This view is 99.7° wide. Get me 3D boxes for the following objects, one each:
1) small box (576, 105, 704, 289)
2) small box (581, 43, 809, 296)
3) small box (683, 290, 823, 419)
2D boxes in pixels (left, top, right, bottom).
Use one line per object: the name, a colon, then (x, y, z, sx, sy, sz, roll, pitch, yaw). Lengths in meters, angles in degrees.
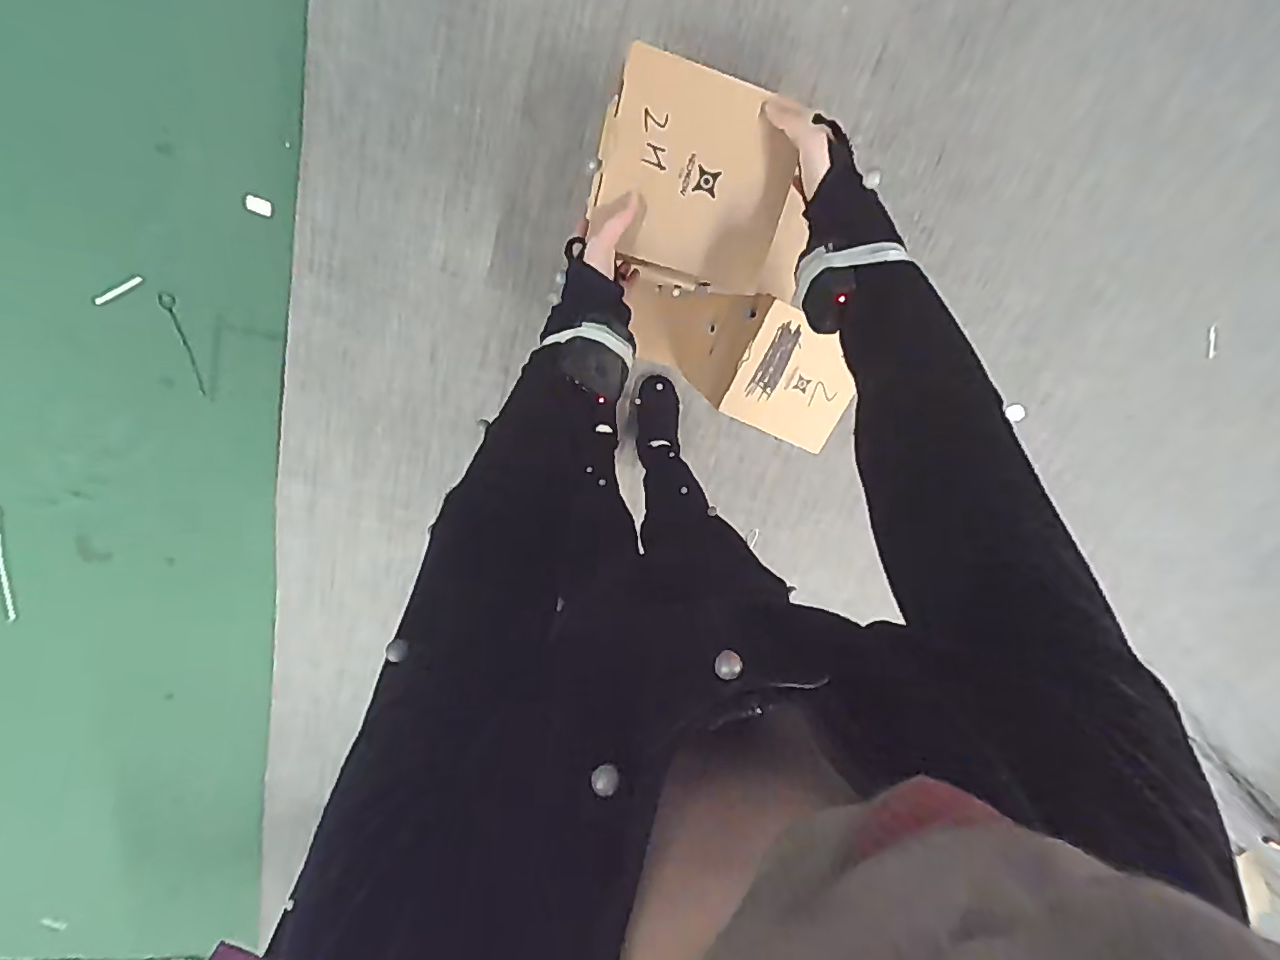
small box: (0.015, -0.362, 0.727, 0.179, 0.176, 0.168, 12, 108, -11)
small box: (0.042, -0.306, 0.572, 0.179, 0.176, 0.168, 14, 108, -11)
small box: (0.189, -0.234, 0.970, 0.168, 0.176, 0.179, 17, 109, -13)
